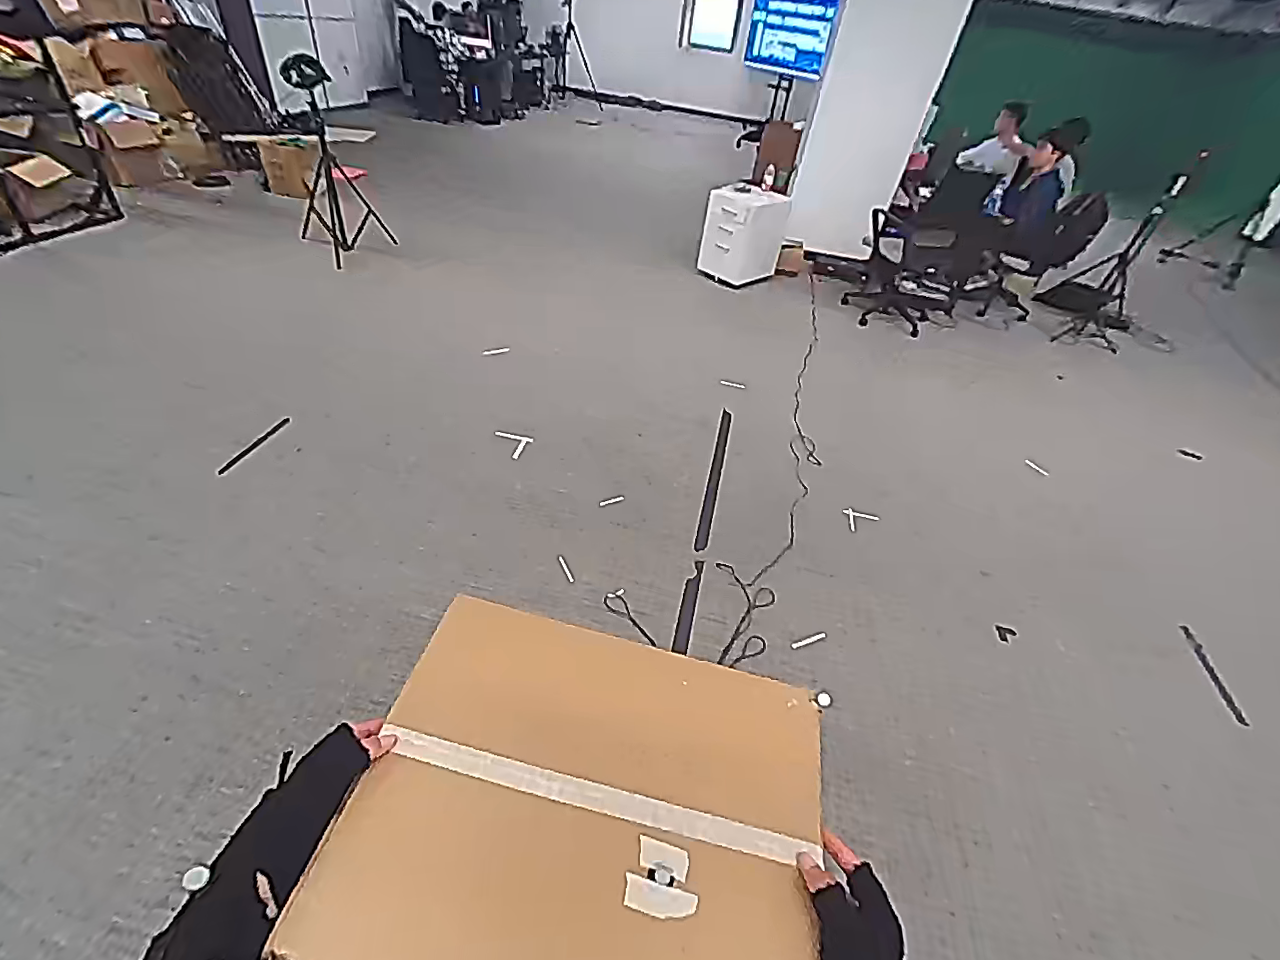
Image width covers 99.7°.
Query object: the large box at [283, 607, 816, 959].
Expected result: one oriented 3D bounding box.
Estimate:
[{"bbox_3d":[-0.063,0.393,0.589,0.408,0.320,0.320,15,44,2],"label":"large box"}]
